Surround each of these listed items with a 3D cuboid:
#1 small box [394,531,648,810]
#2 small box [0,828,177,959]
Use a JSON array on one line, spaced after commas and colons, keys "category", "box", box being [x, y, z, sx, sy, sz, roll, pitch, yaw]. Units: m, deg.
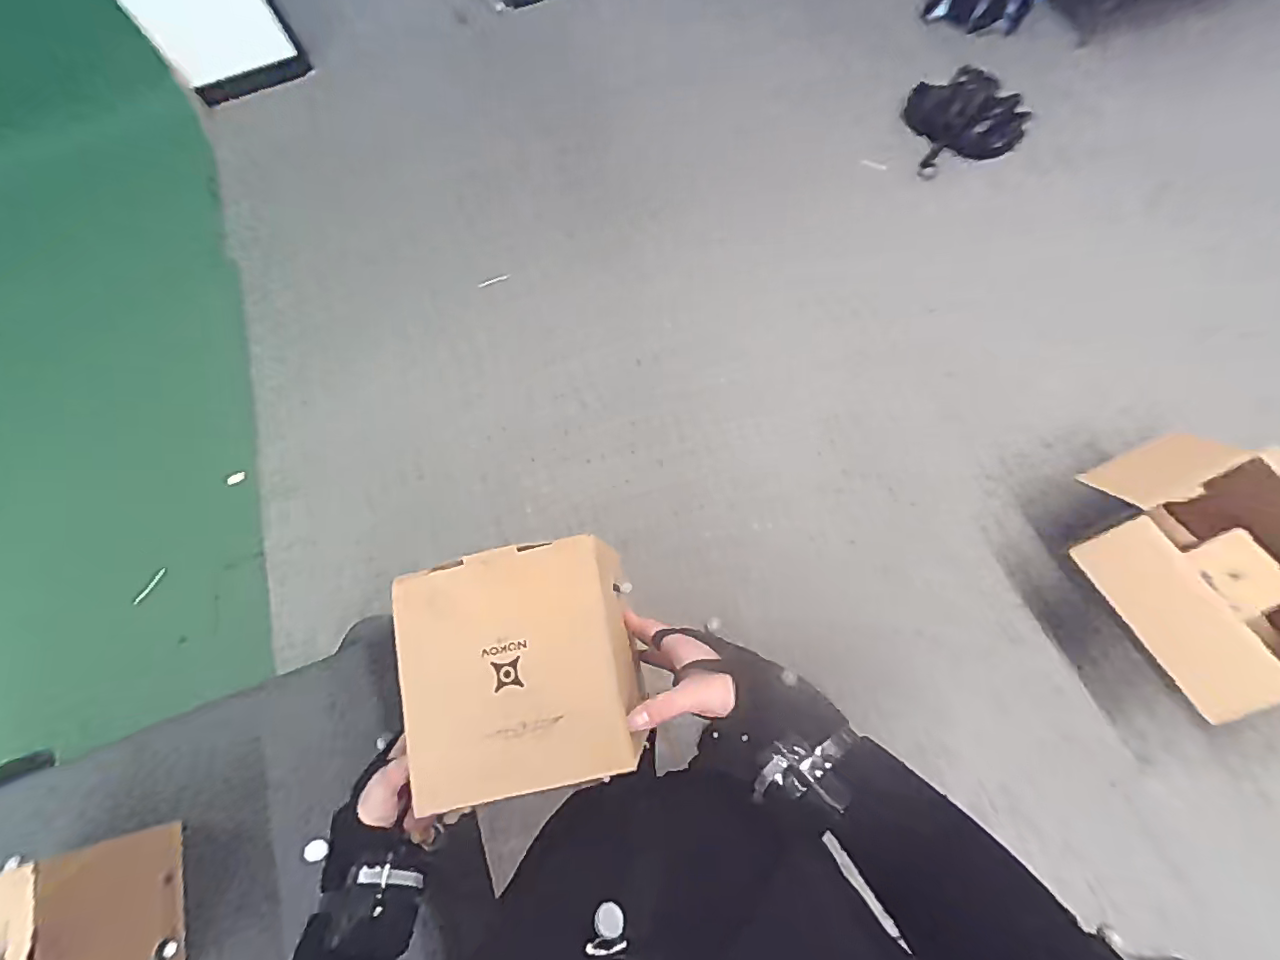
[{"category": "small box", "box": [-0.092, 0.156, 0.480, 0.168, 0.176, 0.179, -12, 77, 3]}, {"category": "small box", "box": [-0.642, 0.505, 0.576, 0.179, 0.176, 0.168, -20, 70, -3]}]
